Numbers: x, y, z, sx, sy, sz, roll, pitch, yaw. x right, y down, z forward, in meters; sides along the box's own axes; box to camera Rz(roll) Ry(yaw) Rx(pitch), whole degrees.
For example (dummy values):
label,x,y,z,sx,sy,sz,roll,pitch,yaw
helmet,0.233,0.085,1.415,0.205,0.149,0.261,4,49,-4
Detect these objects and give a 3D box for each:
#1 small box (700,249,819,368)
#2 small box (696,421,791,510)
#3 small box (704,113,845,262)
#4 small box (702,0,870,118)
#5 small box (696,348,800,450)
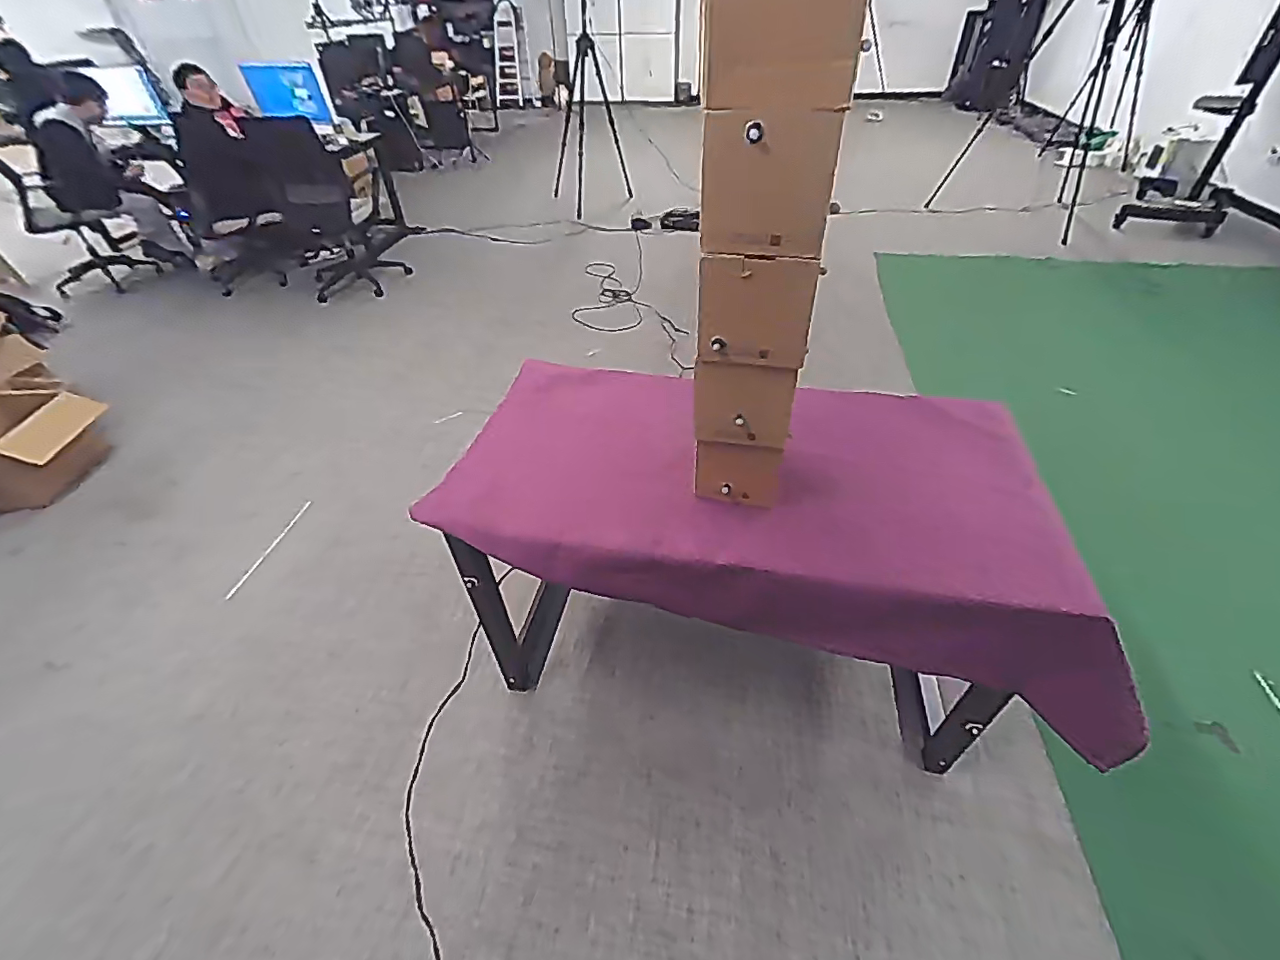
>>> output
label,x,y,z,sx,sy,sz,roll,pitch,yaw
small box,0.190,-0.294,0.857,0.168,0.176,0.179,8,42,13
small box,0.209,-0.066,1.093,0.168,0.176,0.179,9,44,13
small box,0.184,-0.420,0.753,0.168,0.176,0.179,9,42,14
small box,0.176,-0.541,0.643,0.179,0.176,0.168,11,44,14
small box,0.195,-0.178,0.974,0.168,0.176,0.179,7,43,13
